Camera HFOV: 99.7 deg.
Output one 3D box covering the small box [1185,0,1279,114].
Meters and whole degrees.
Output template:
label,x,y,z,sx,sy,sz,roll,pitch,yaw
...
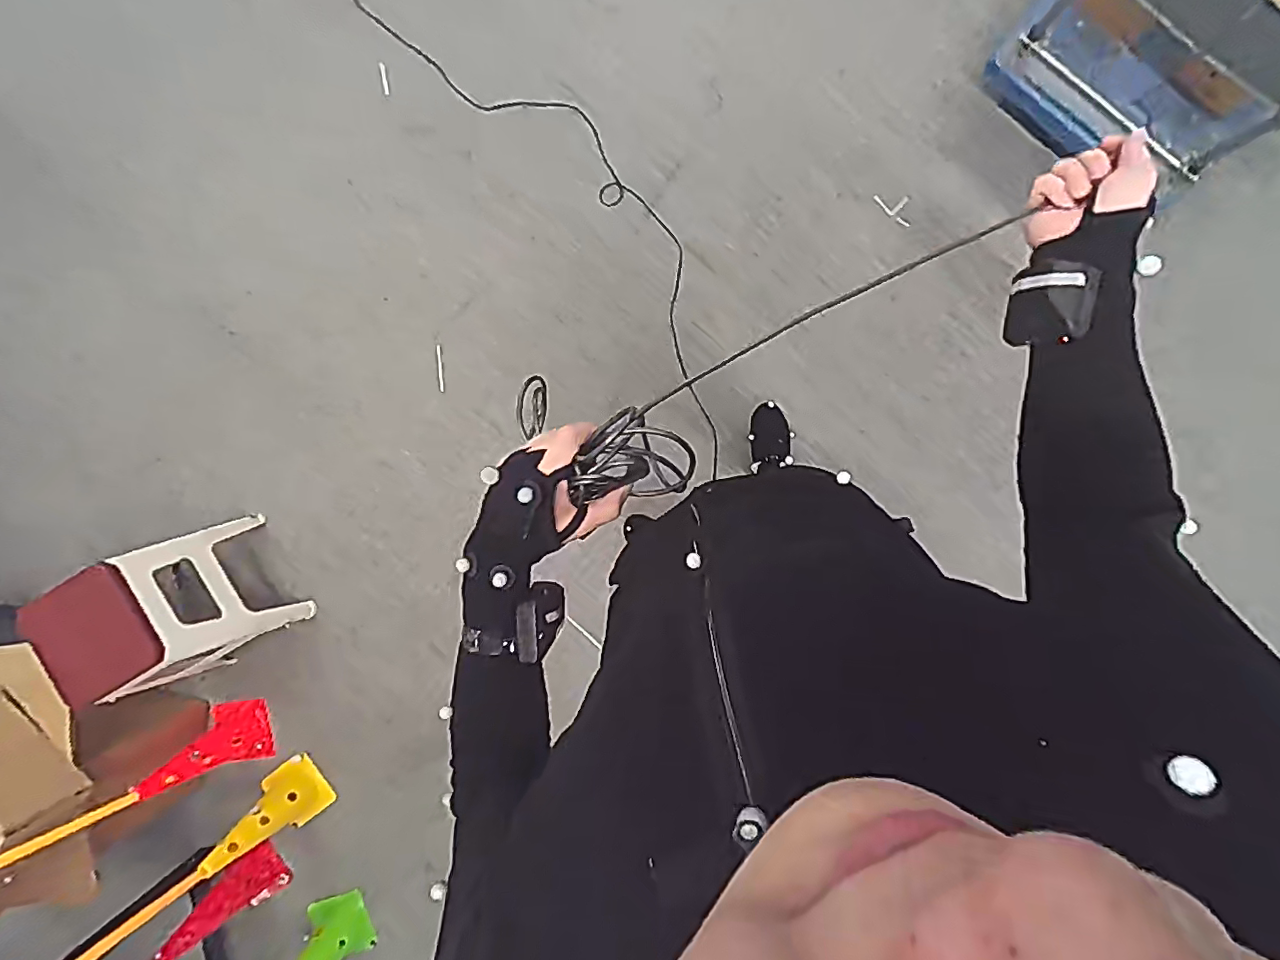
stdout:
label,x,y,z,sx,sy,sz,roll,pitch,yaw
small box,1.380,-0.963,1.180,0.168,0.176,0.179,43,97,2
